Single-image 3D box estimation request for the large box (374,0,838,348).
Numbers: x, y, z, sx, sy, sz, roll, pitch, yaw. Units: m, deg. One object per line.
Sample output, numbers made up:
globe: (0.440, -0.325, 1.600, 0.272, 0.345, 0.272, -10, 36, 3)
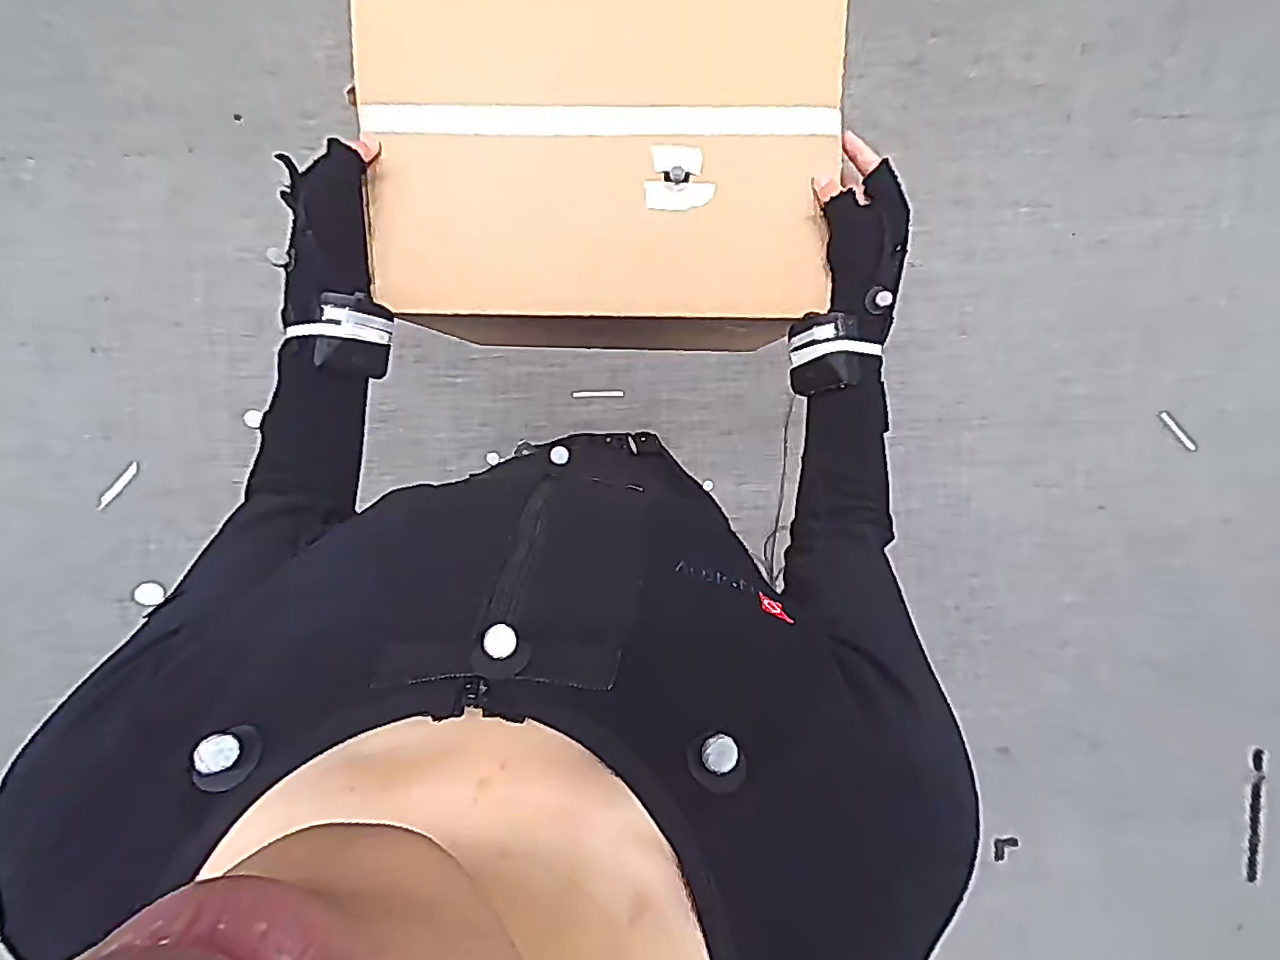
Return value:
large box: (-0.031, -0.327, 0.622, 0.408, 0.320, 0.320, 1, 99, 0)
